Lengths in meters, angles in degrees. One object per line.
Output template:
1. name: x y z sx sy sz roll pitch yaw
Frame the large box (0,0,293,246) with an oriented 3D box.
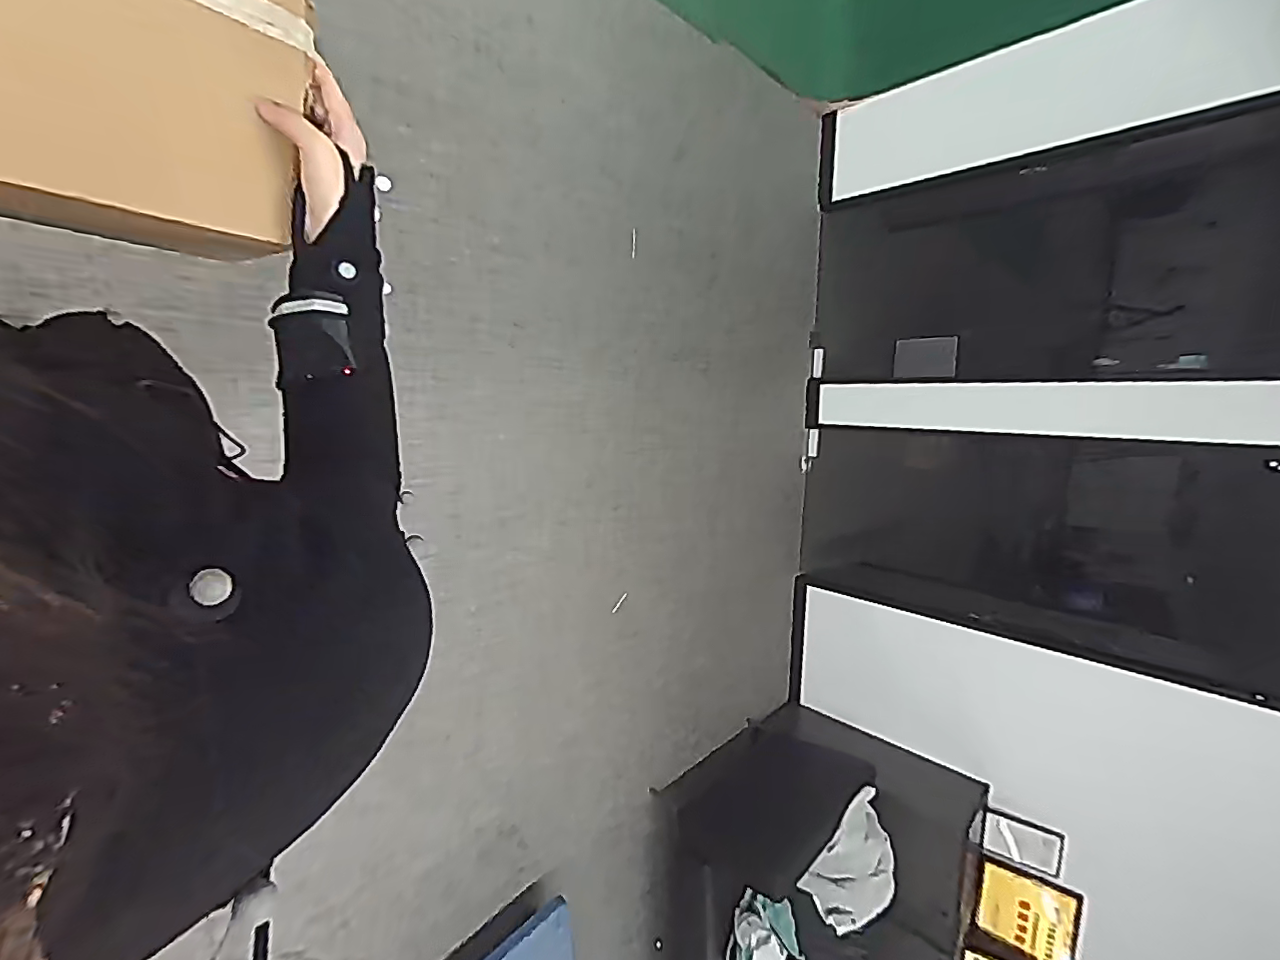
1. large box: -0.519 -0.381 0.397 0.408 0.320 0.320 -3 106 -43
